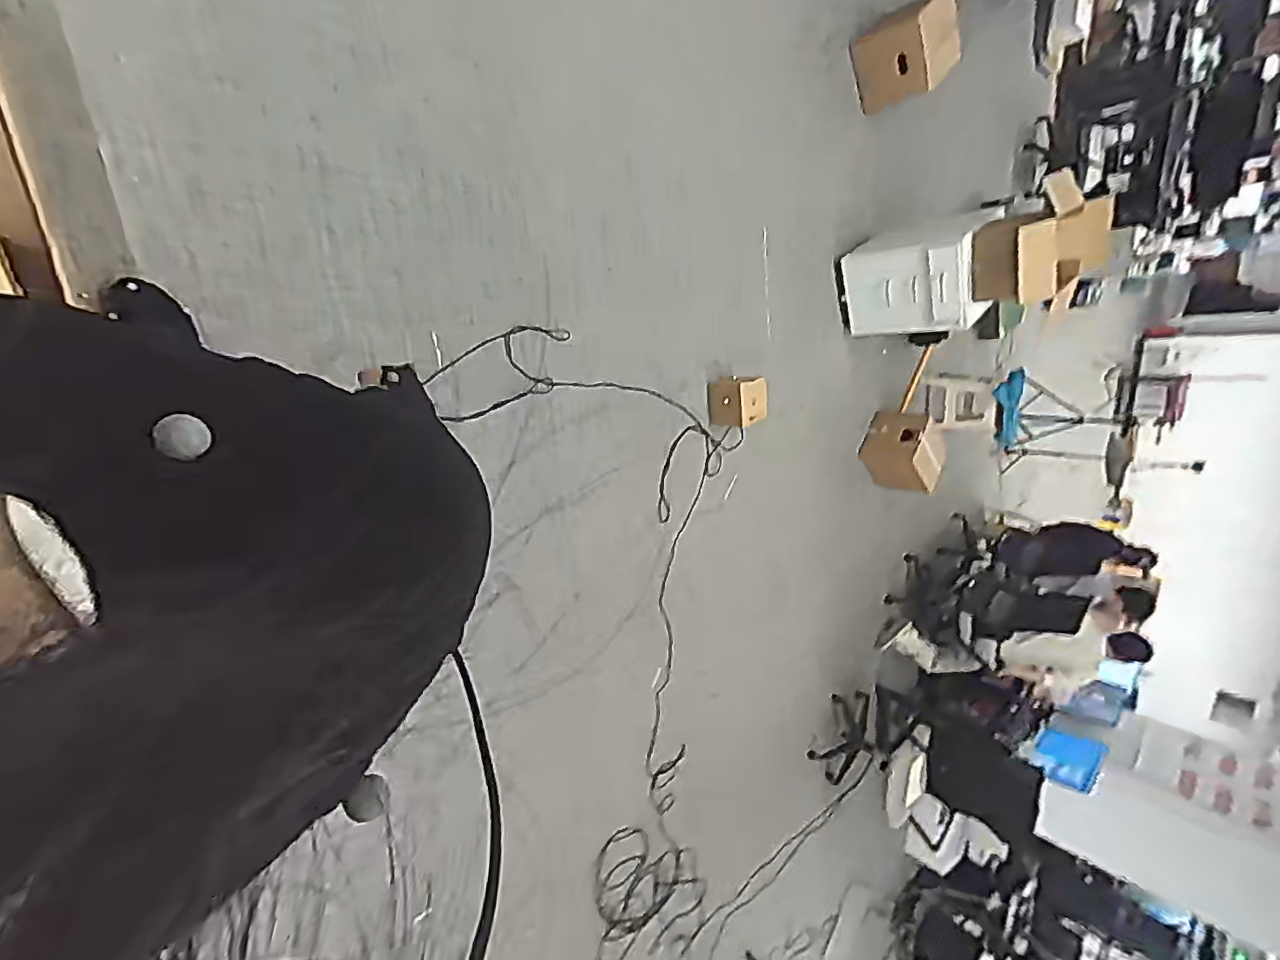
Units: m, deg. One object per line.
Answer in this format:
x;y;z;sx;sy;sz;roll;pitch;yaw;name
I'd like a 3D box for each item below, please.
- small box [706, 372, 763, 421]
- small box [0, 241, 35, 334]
0.387;-0.346;2.239;0.168;0.176;0.179;-22;112;-38;small box
-1.084;-0.306;0.821;0.179;0.176;0.168;-22;113;-39;small box
